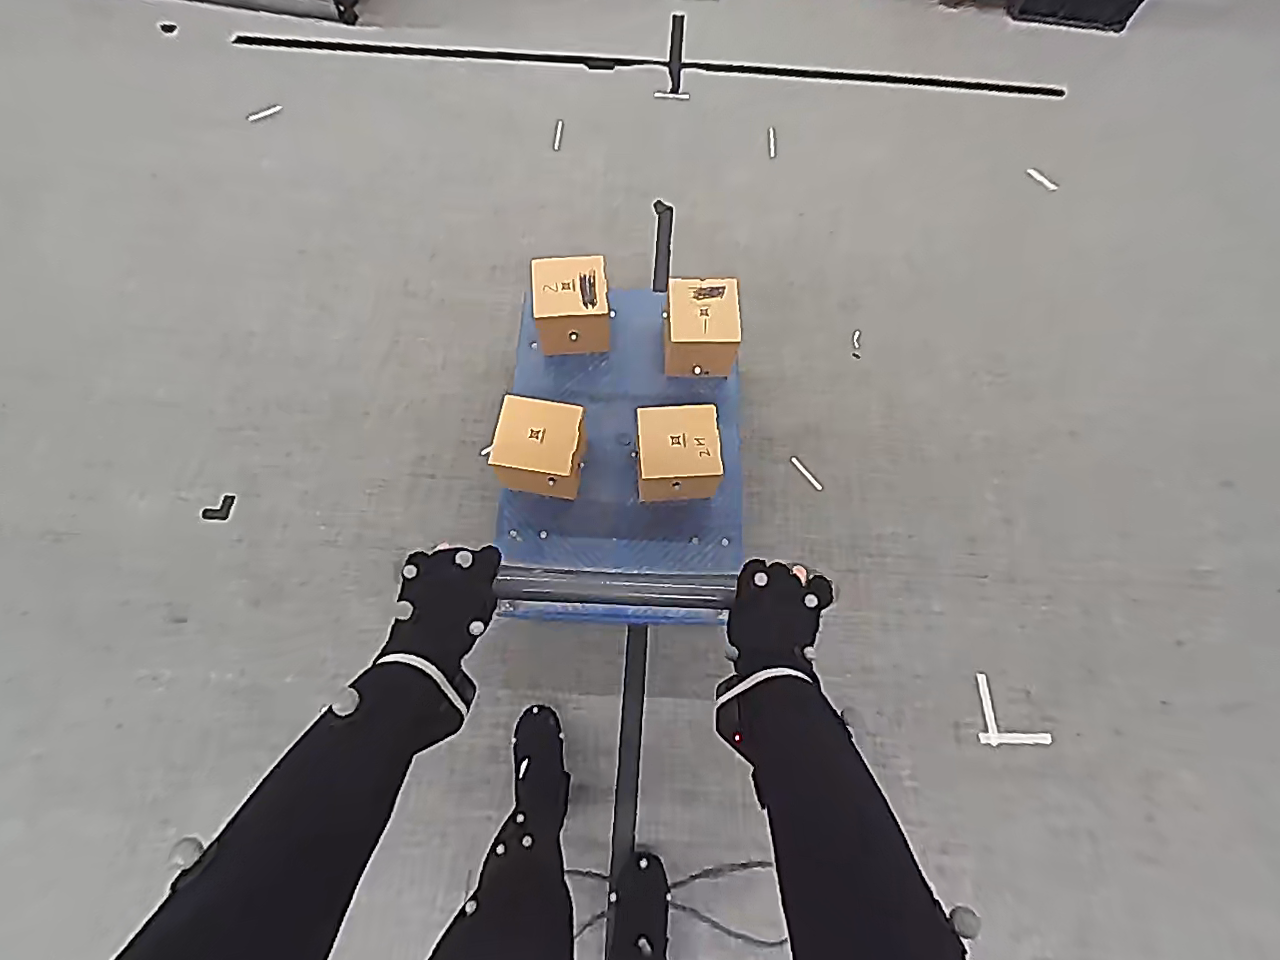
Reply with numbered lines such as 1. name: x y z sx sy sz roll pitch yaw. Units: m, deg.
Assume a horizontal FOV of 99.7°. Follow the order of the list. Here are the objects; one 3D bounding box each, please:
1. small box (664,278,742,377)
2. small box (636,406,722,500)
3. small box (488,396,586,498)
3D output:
1. small box: 0.148 -0.371 1.330 0.168 0.176 0.179 0 73 -2
2. small box: 0.081 -0.056 1.224 0.179 0.176 0.168 -3 72 -2
3. small box: -0.223 -0.068 1.219 0.179 0.176 0.168 9 71 -1
